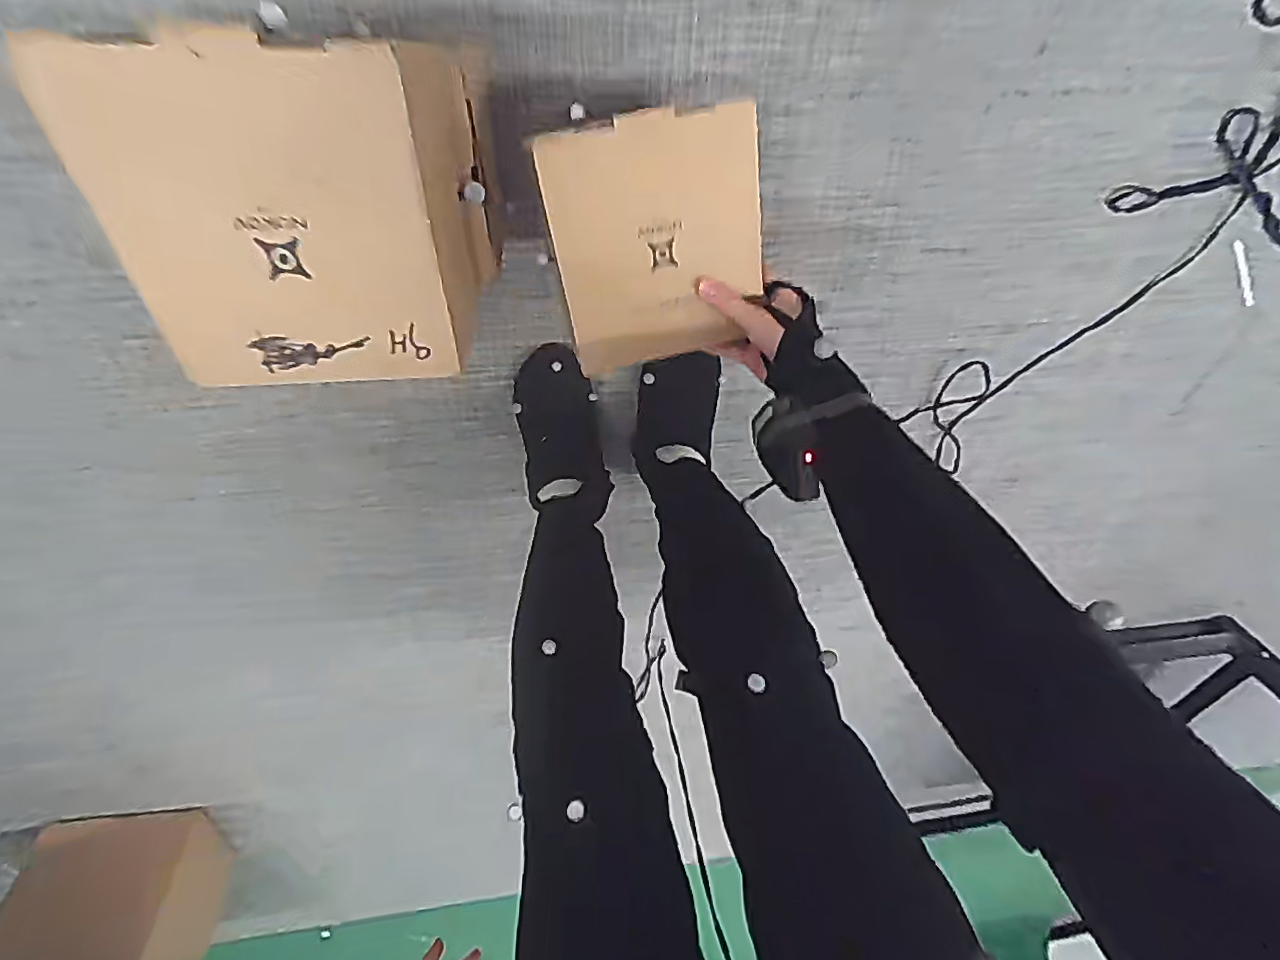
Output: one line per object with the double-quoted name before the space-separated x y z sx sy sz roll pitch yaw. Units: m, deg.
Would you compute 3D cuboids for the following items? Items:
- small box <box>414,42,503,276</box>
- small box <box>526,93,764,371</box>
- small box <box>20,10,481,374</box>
"small box" -0.223 -0.291 0.489 0.179 0.176 0.168 -4 128 -6
"small box" 0.000 -0.221 0.483 0.168 0.176 0.179 -14 123 -6
"small box" -0.208 -0.188 0.361 0.168 0.176 0.179 -3 127 -6
